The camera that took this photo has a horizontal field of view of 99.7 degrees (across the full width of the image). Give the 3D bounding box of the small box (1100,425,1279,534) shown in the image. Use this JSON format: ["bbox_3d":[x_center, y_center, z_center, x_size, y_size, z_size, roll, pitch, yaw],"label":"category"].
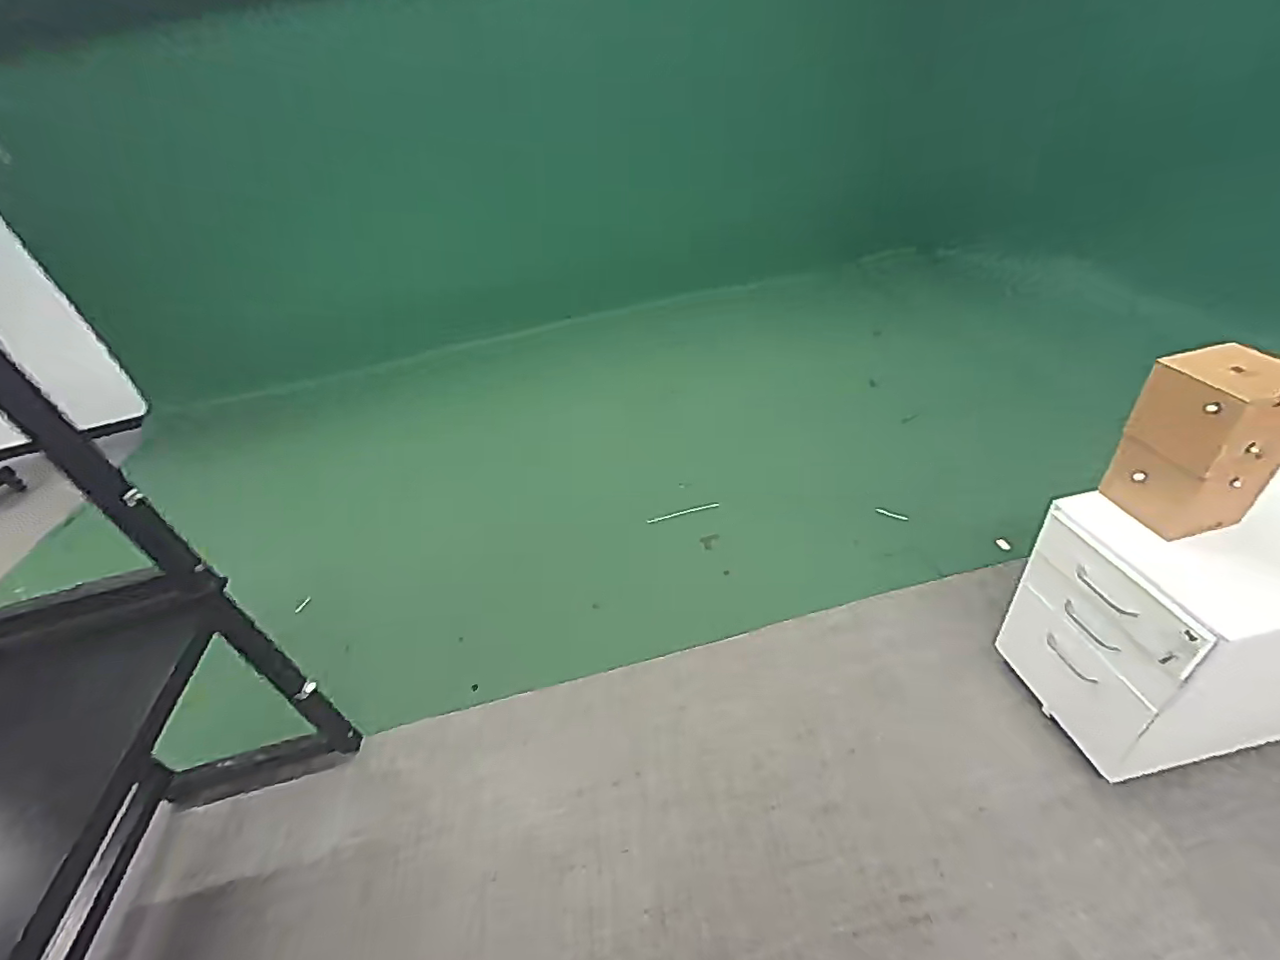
[{"bbox_3d":[1.120,-0.017,1.120,0.168,0.176,0.179,-14,38,-3],"label":"small box"}]

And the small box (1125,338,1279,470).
[{"bbox_3d":[1.088,-0.144,1.022,0.168,0.176,0.179,-13,39,-3],"label":"small box"}]
